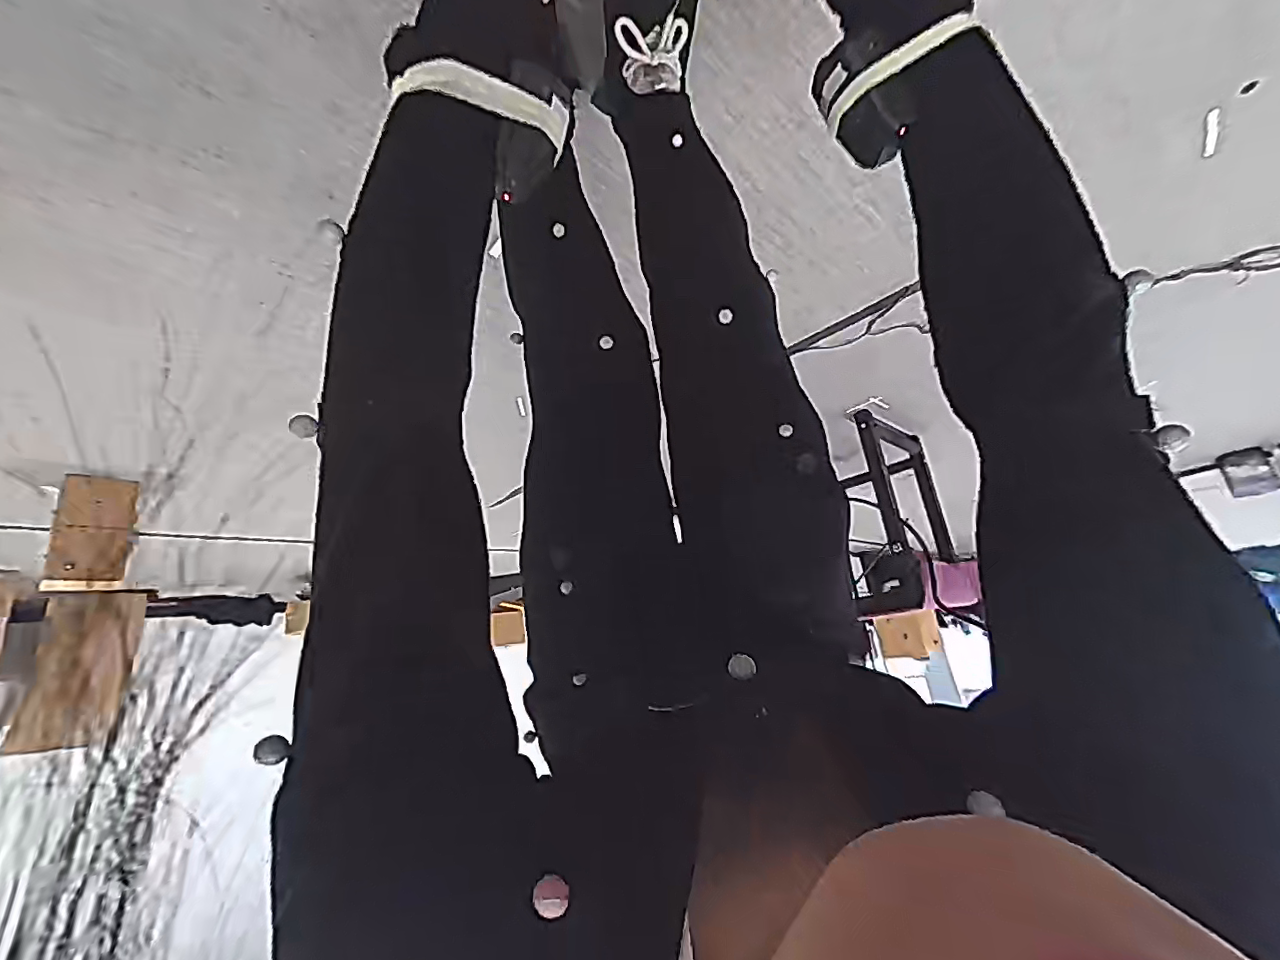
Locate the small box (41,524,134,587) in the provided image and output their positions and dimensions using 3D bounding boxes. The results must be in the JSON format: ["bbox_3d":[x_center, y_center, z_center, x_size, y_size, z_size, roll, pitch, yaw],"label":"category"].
[{"bbox_3d":[-1.743,0.240,1.708,0.168,0.176,0.179,-21,159,37],"label":"small box"}]

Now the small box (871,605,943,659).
[{"bbox_3d":[0.999,0.570,2.030,0.179,0.176,0.168,7,157,-41],"label":"small box"}]
